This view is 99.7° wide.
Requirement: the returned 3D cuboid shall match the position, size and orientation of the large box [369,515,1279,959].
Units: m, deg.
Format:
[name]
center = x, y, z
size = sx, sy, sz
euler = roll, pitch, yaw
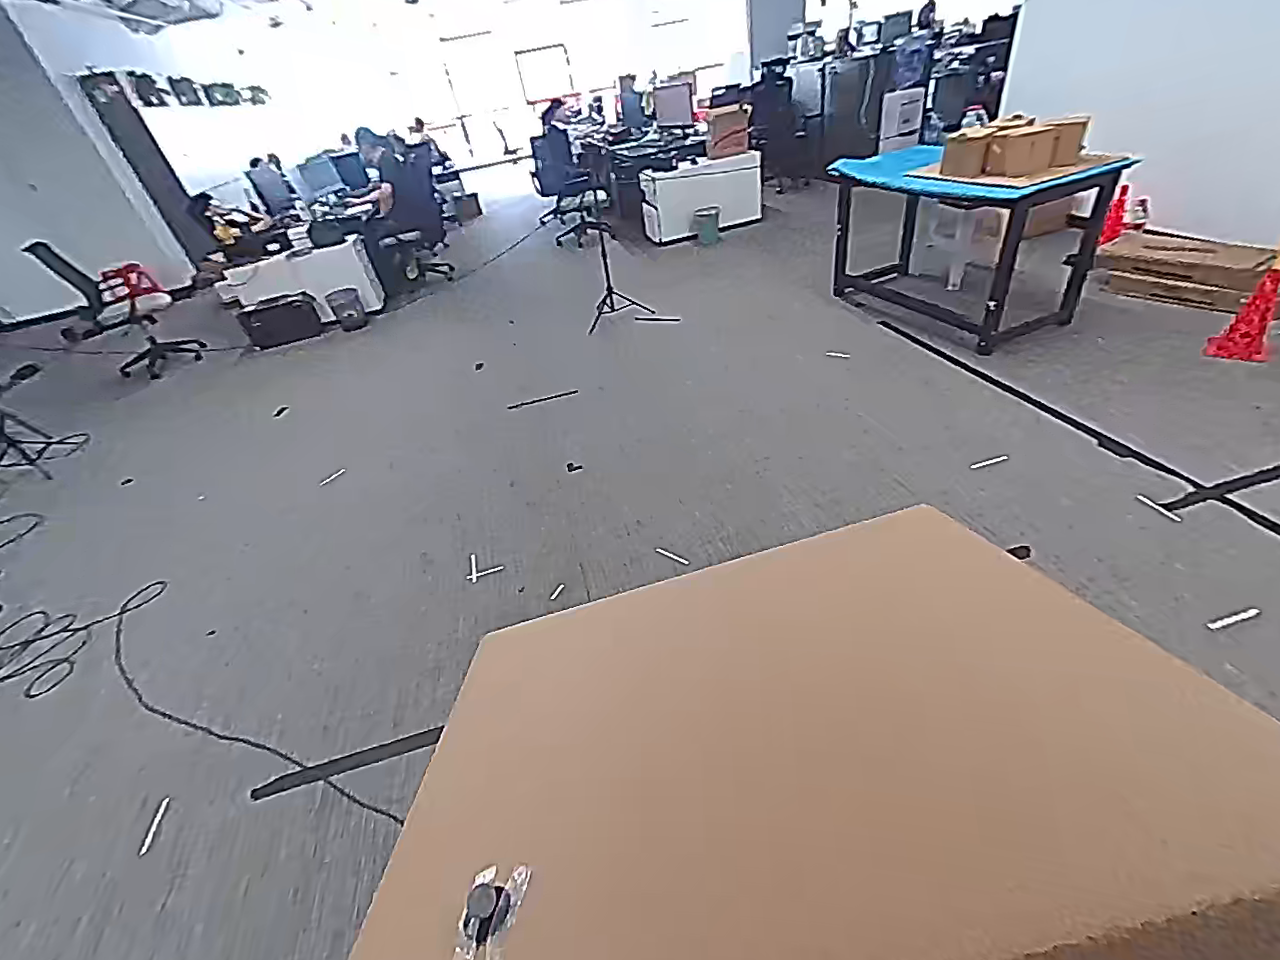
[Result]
[large box]
center = 0.105, 0.264, 0.374
size = 0.408, 0.320, 0.320
euler = -18, 17, 4
